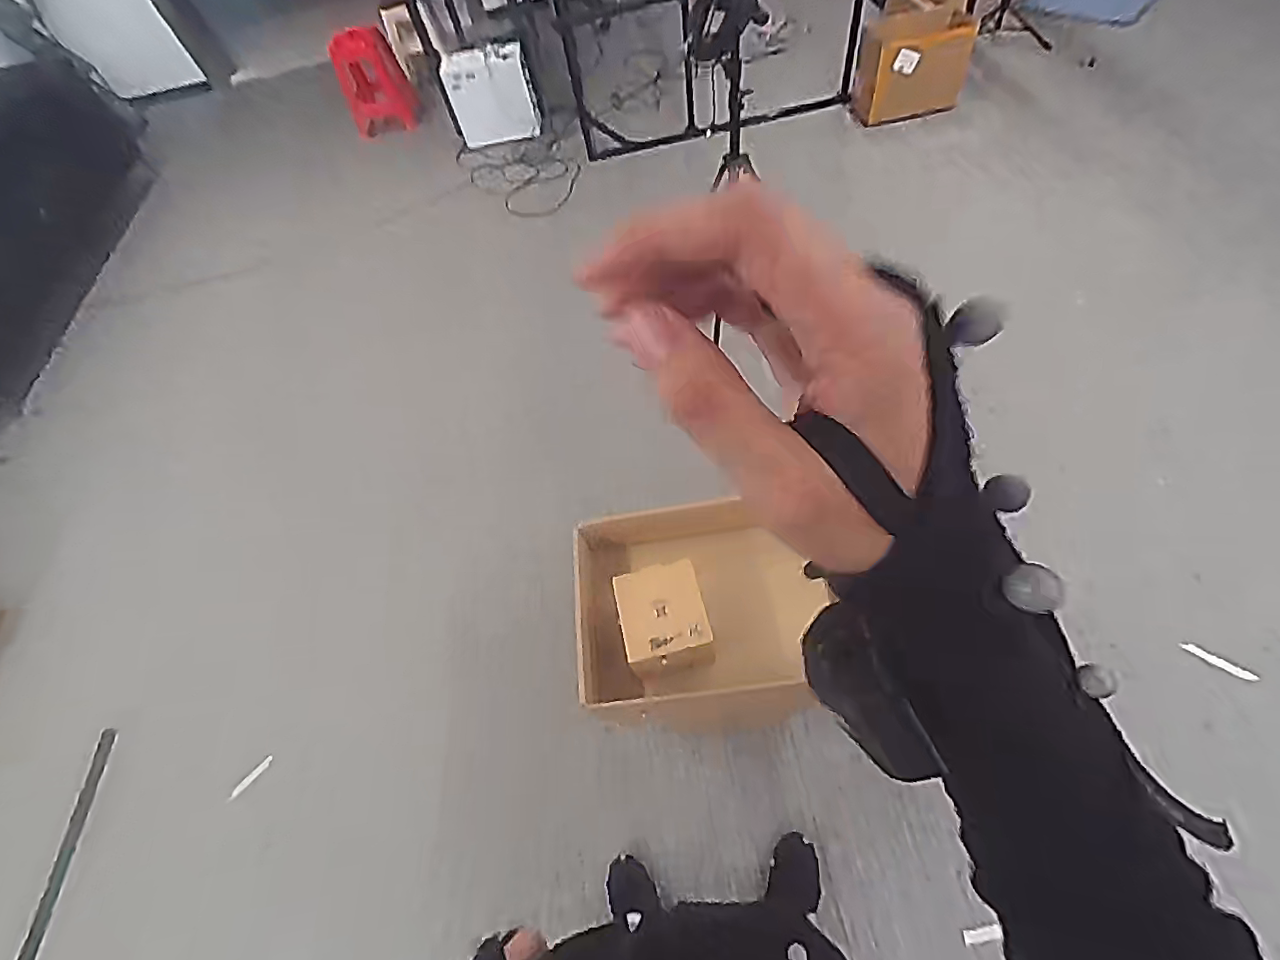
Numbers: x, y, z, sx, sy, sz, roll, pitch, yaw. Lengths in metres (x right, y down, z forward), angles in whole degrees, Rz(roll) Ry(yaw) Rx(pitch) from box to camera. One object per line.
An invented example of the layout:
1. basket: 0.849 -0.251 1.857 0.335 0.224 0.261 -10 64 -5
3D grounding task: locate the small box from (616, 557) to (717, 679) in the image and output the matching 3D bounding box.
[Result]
1. small box: 0.056 0.285 1.103 0.168 0.176 0.179 -15 57 1
